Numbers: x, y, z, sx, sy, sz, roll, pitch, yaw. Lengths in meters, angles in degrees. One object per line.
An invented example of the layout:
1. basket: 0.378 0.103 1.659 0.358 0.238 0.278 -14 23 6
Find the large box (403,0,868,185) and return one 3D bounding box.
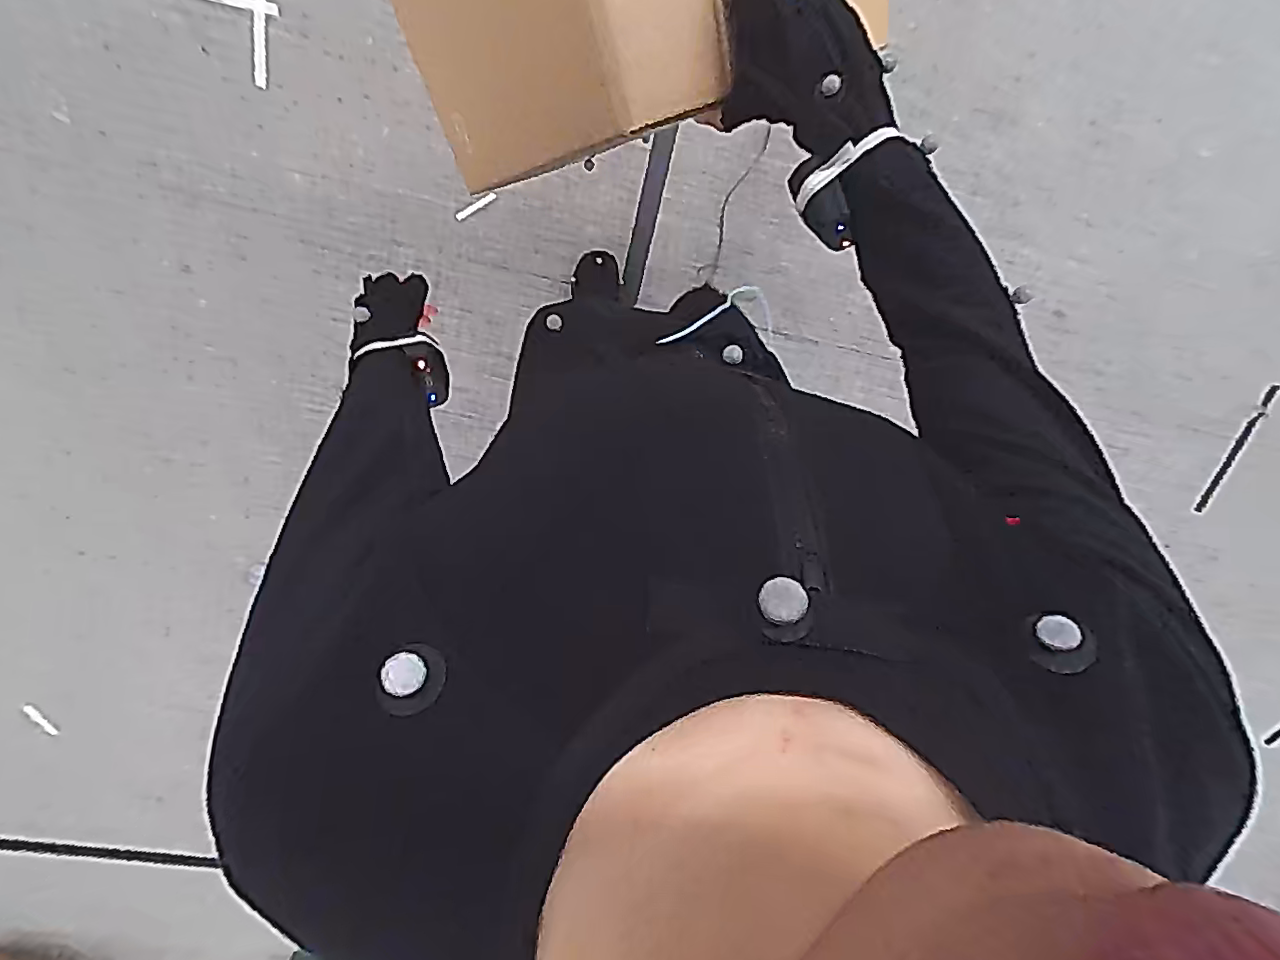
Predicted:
1. large box: -0.039 -0.530 0.548 0.320 0.408 0.320 -31 124 -22
